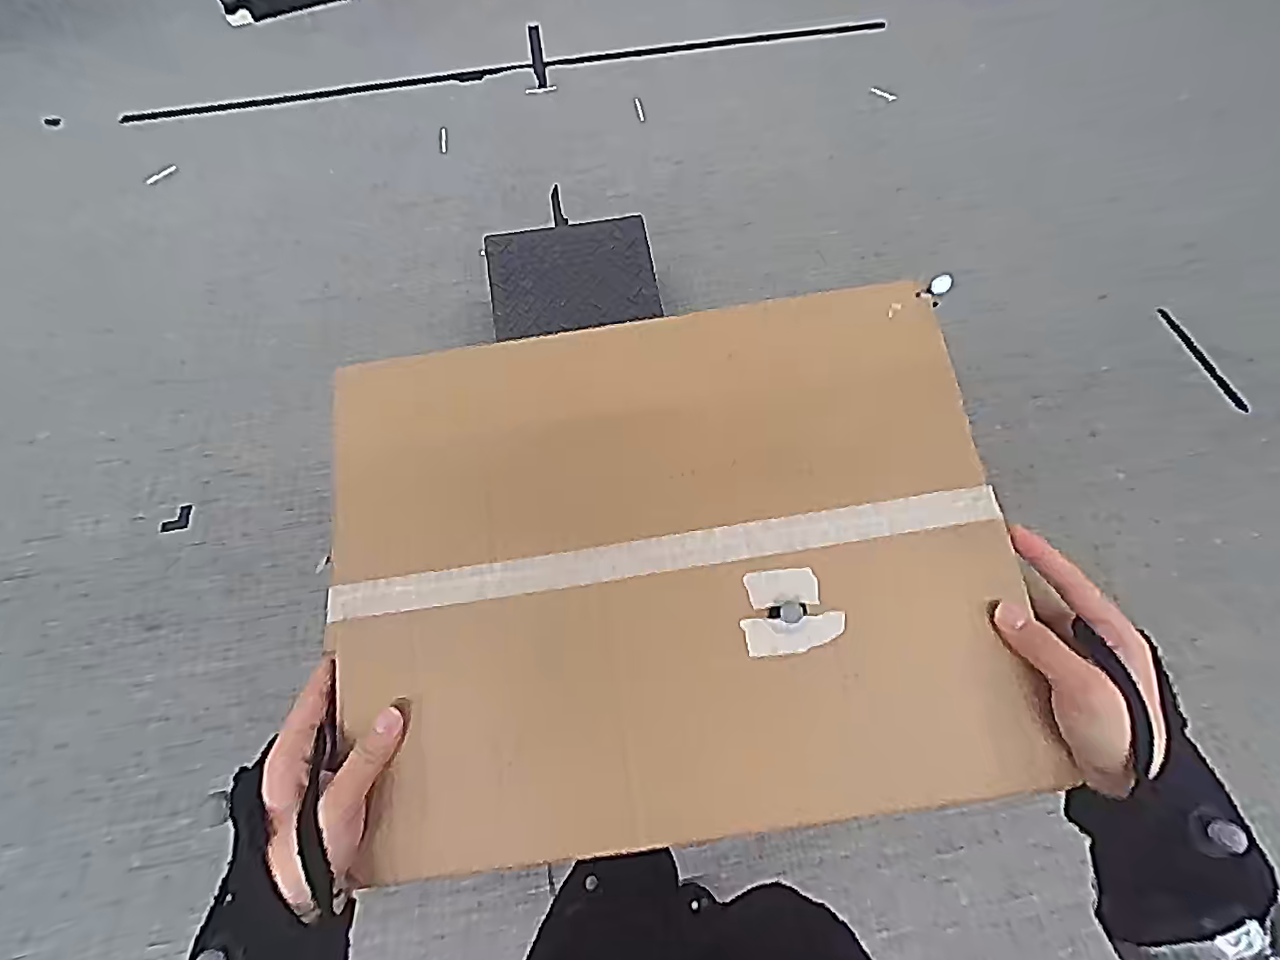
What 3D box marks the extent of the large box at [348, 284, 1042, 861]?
[{"bbox_3d":[0.017,0.076,0.487,0.408,0.320,0.320,-9,77,0],"label":"large box"}]
